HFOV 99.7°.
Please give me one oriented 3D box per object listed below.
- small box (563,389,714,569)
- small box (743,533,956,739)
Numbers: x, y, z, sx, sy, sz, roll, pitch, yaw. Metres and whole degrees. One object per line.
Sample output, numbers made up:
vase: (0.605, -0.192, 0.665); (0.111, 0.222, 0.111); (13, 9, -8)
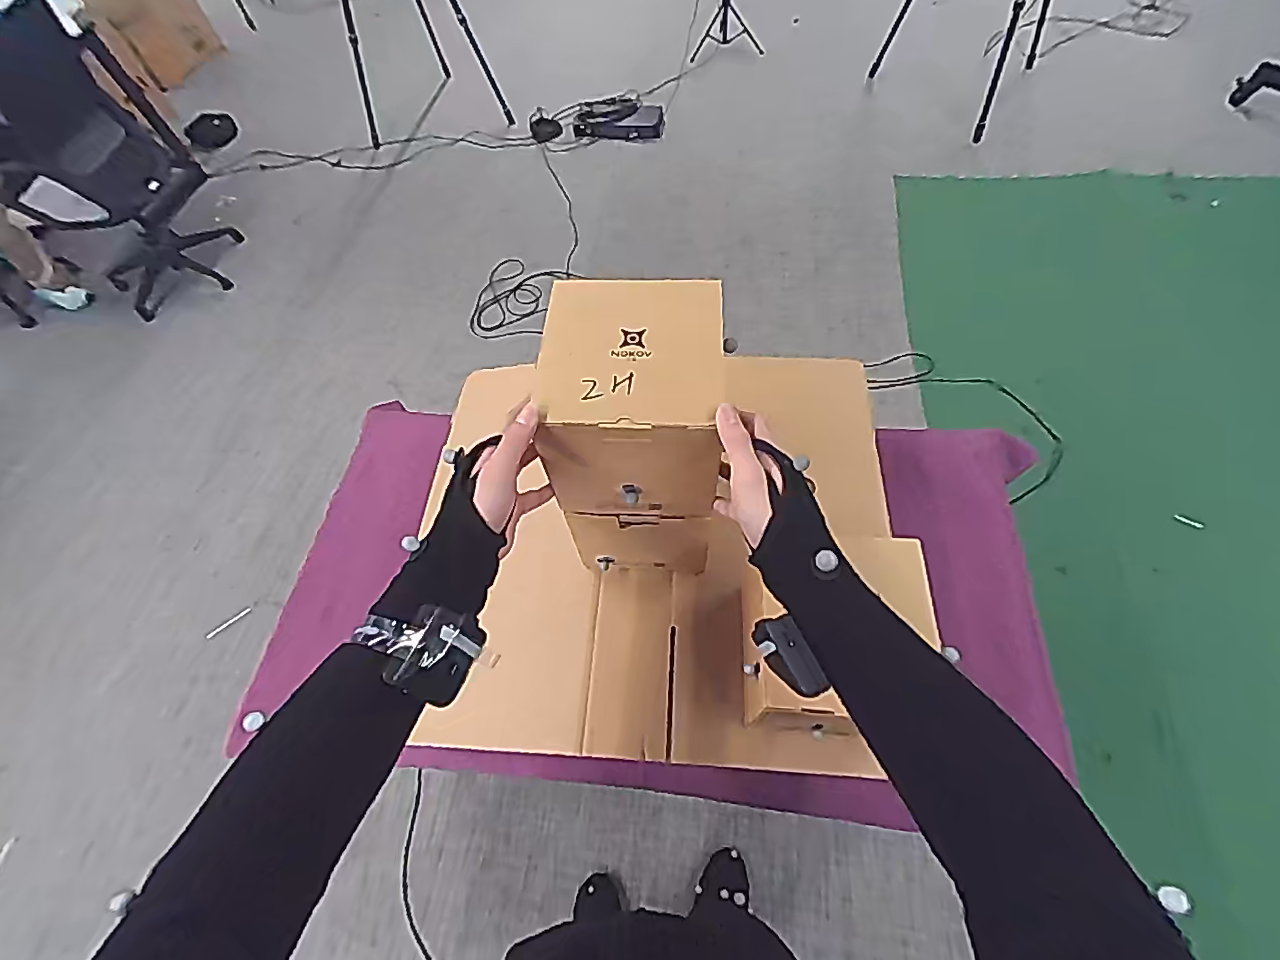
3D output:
small box: (0.007, 0.004, 0.690); (0.168, 0.176, 0.179); (2, 60, 4)
small box: (0.204, 0.173, 0.585); (0.168, 0.176, 0.179); (2, 61, 5)
